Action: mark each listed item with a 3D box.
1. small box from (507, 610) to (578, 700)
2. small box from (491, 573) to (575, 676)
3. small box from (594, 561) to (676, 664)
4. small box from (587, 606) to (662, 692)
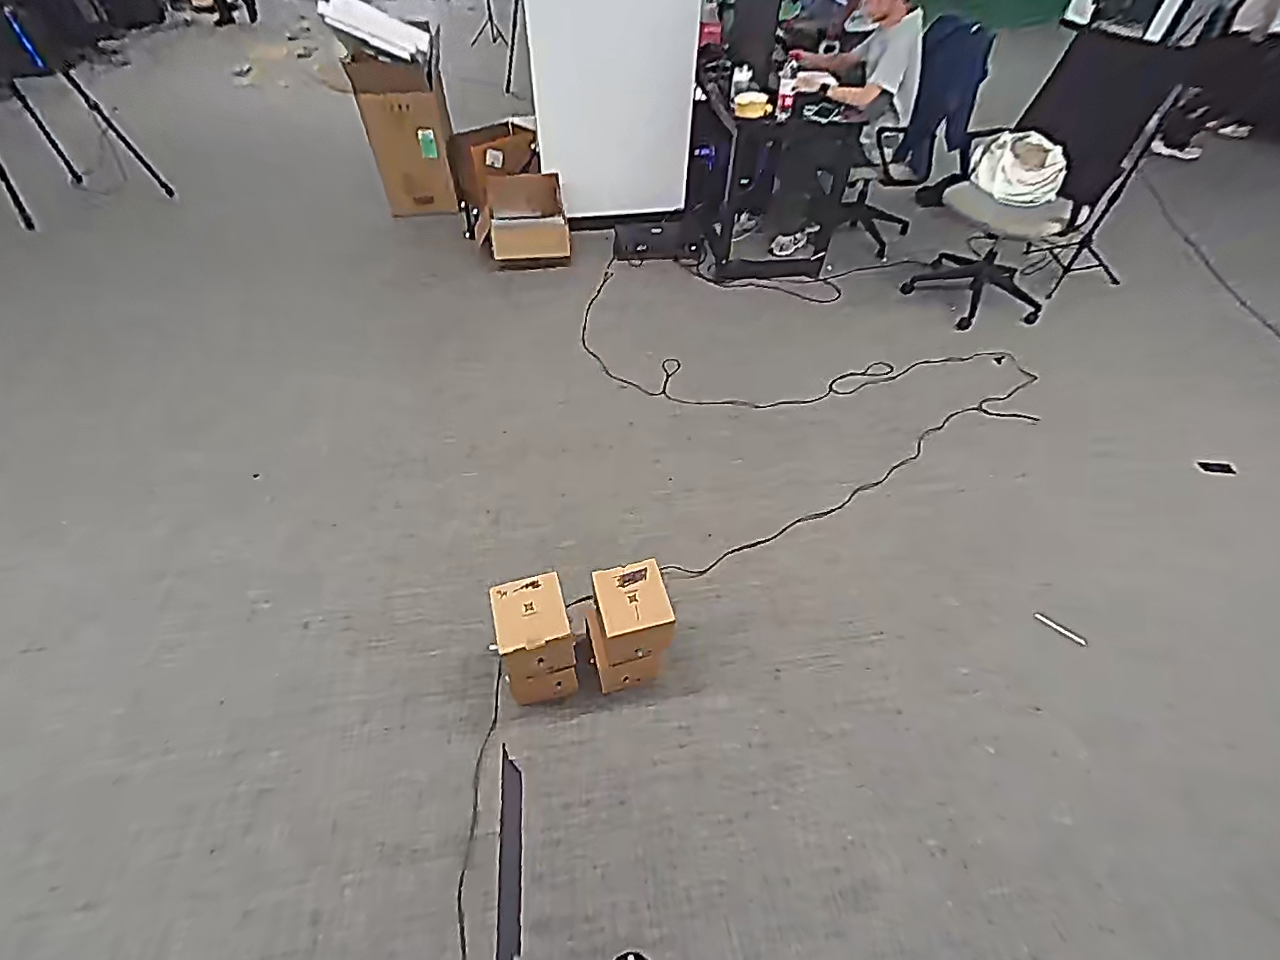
[{"bbox_3d":[-0.260,0.470,1.439,0.168,0.176,0.179,-8,50,-9],"label":"small box"},{"bbox_3d":[-0.257,0.358,1.317,0.168,0.176,0.179,-12,52,-12],"label":"small box"},{"bbox_3d":[-0.018,0.331,1.347,0.168,0.176,0.179,-11,52,-10],"label":"small box"},{"bbox_3d":[-0.046,0.444,1.465,0.168,0.176,0.179,-12,51,-11],"label":"small box"}]
